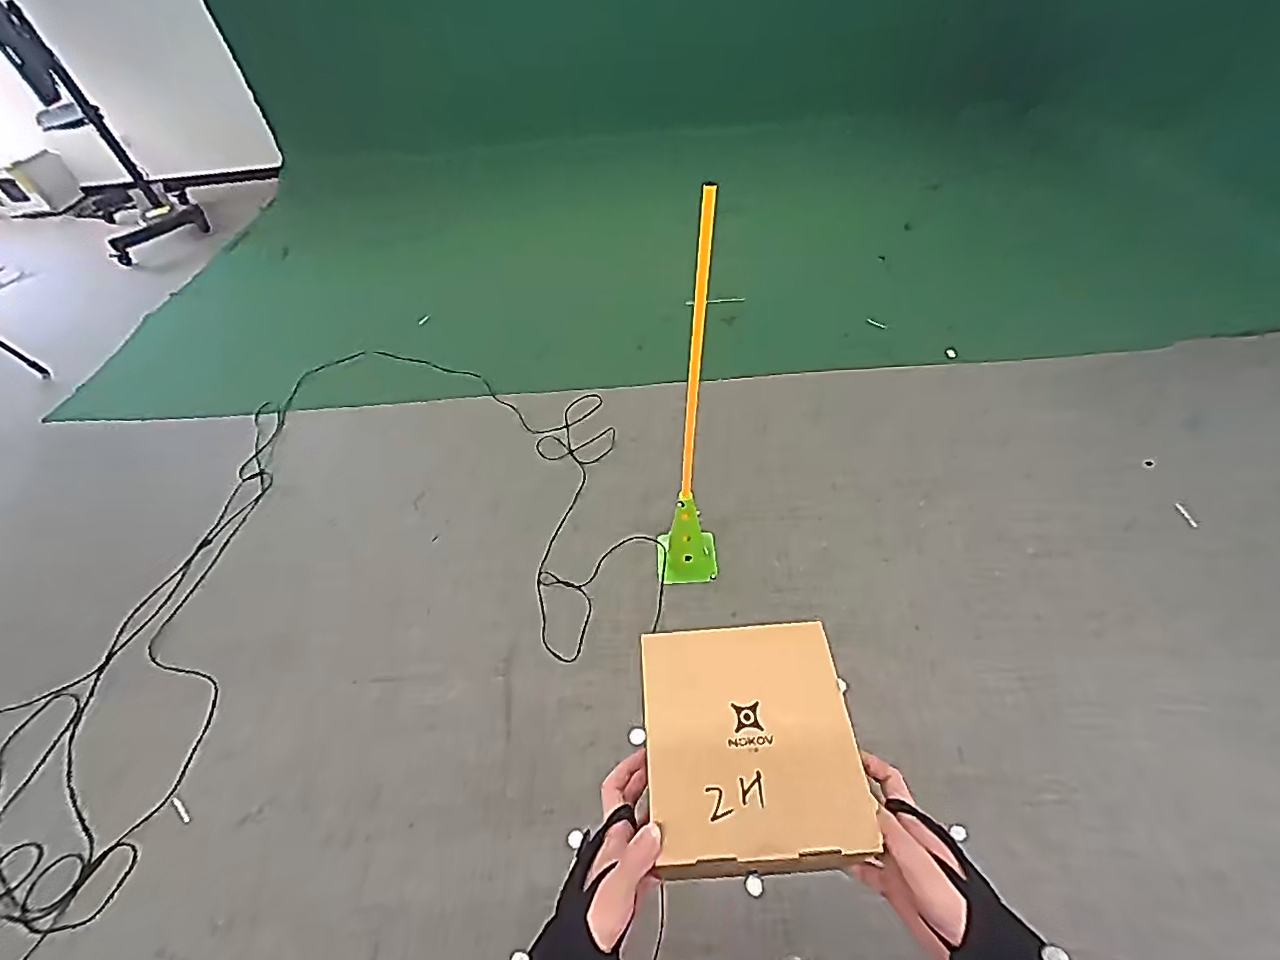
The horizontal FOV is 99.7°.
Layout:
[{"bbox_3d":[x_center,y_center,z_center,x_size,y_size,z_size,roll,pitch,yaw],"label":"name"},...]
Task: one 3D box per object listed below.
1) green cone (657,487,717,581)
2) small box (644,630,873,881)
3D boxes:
[{"bbox_3d":[0.146,0.149,1.757,0.202,0.368,0.200,-4,49,3],"label":"green cone"},{"bbox_3d":[0.089,0.259,0.504,0.168,0.176,0.179,-4,51,2],"label":"small box"}]
